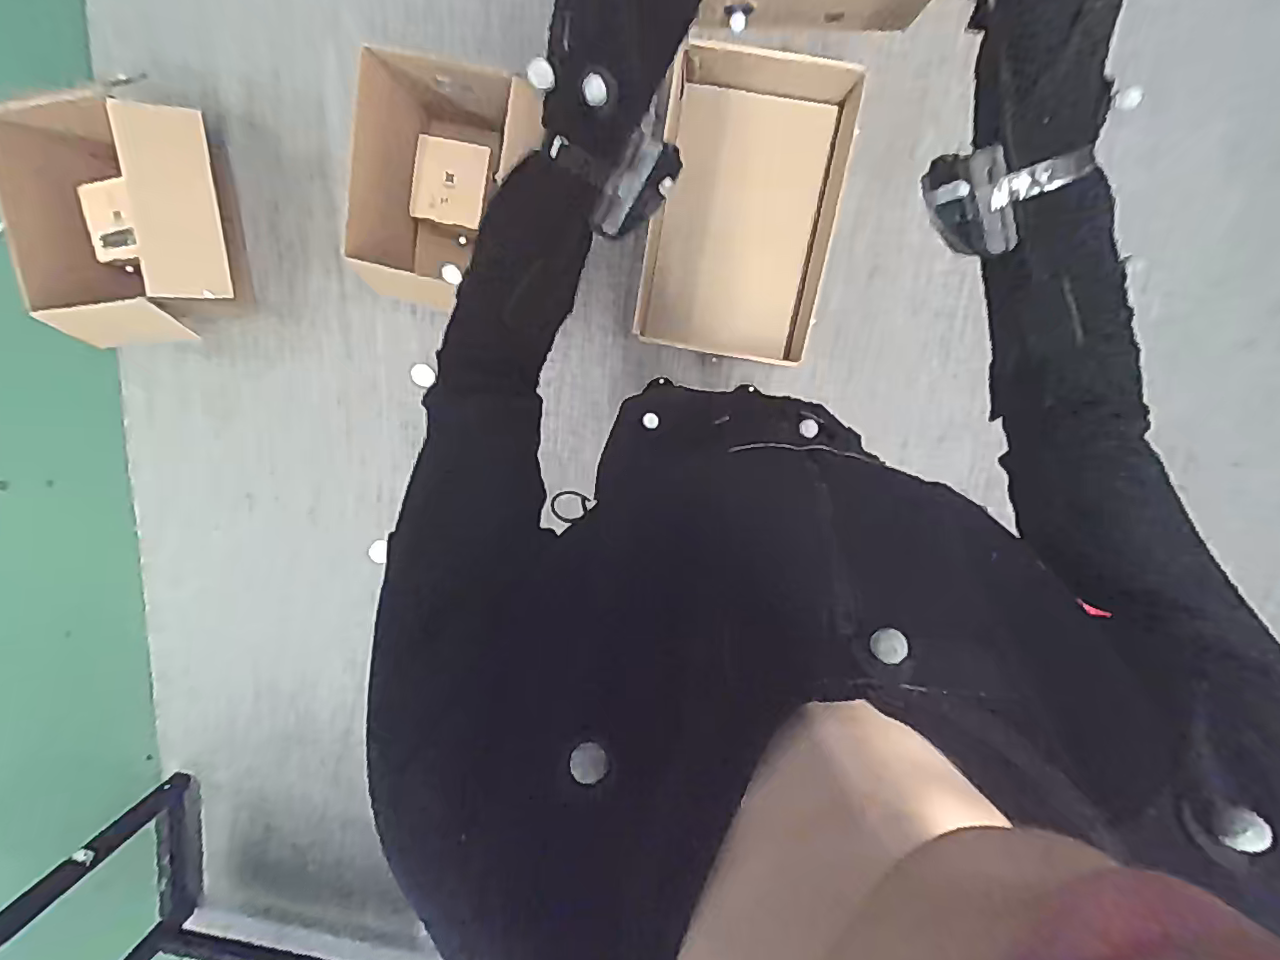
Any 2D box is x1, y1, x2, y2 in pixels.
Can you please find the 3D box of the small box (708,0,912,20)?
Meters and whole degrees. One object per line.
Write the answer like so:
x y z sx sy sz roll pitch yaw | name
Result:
0.116 -0.404 0.307 0.168 0.176 0.179 2 105 2 | small box
